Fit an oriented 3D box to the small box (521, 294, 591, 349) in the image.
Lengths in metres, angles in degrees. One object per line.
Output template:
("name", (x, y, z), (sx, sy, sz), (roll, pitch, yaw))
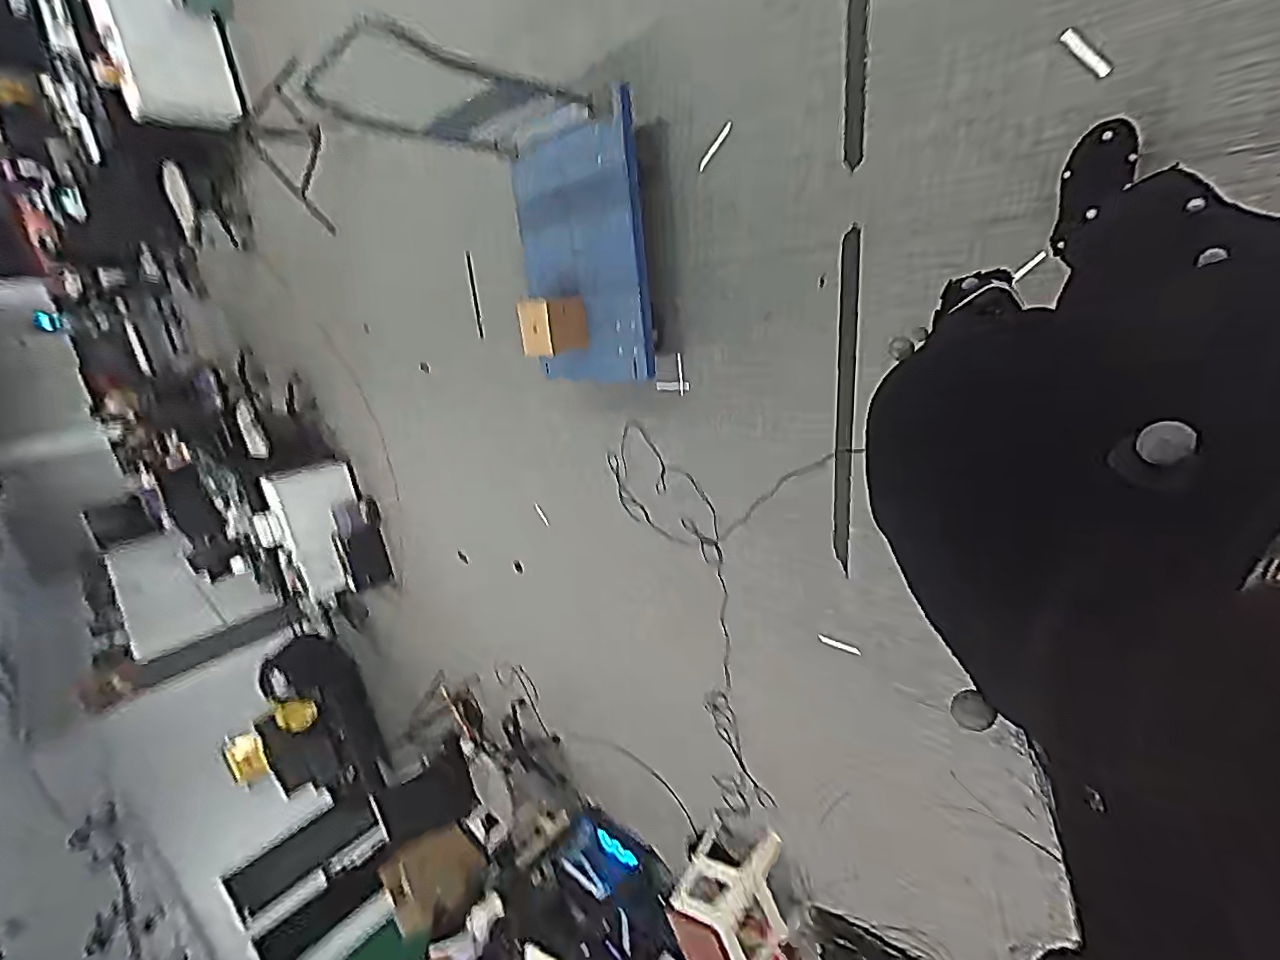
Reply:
("small box", (-0.294, -0.563, 1.913), (0.168, 0.176, 0.179), (12, 116, 42))
